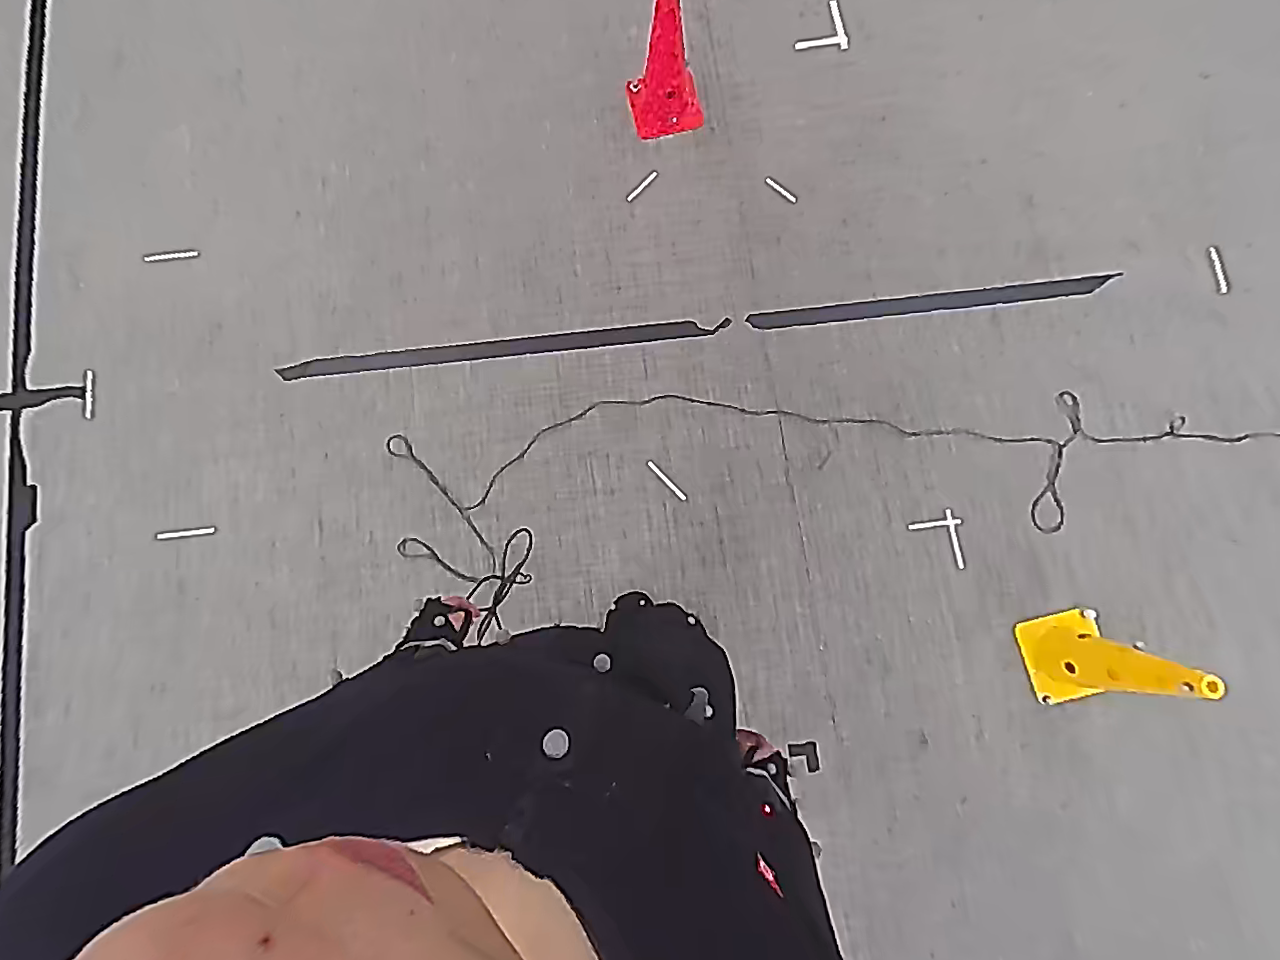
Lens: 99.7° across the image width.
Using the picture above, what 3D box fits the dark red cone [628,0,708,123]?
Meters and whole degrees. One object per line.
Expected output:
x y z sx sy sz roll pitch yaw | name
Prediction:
0.076 -1.133 1.371 0.202 0.394 0.201 -14 83 -1 | dark red cone
